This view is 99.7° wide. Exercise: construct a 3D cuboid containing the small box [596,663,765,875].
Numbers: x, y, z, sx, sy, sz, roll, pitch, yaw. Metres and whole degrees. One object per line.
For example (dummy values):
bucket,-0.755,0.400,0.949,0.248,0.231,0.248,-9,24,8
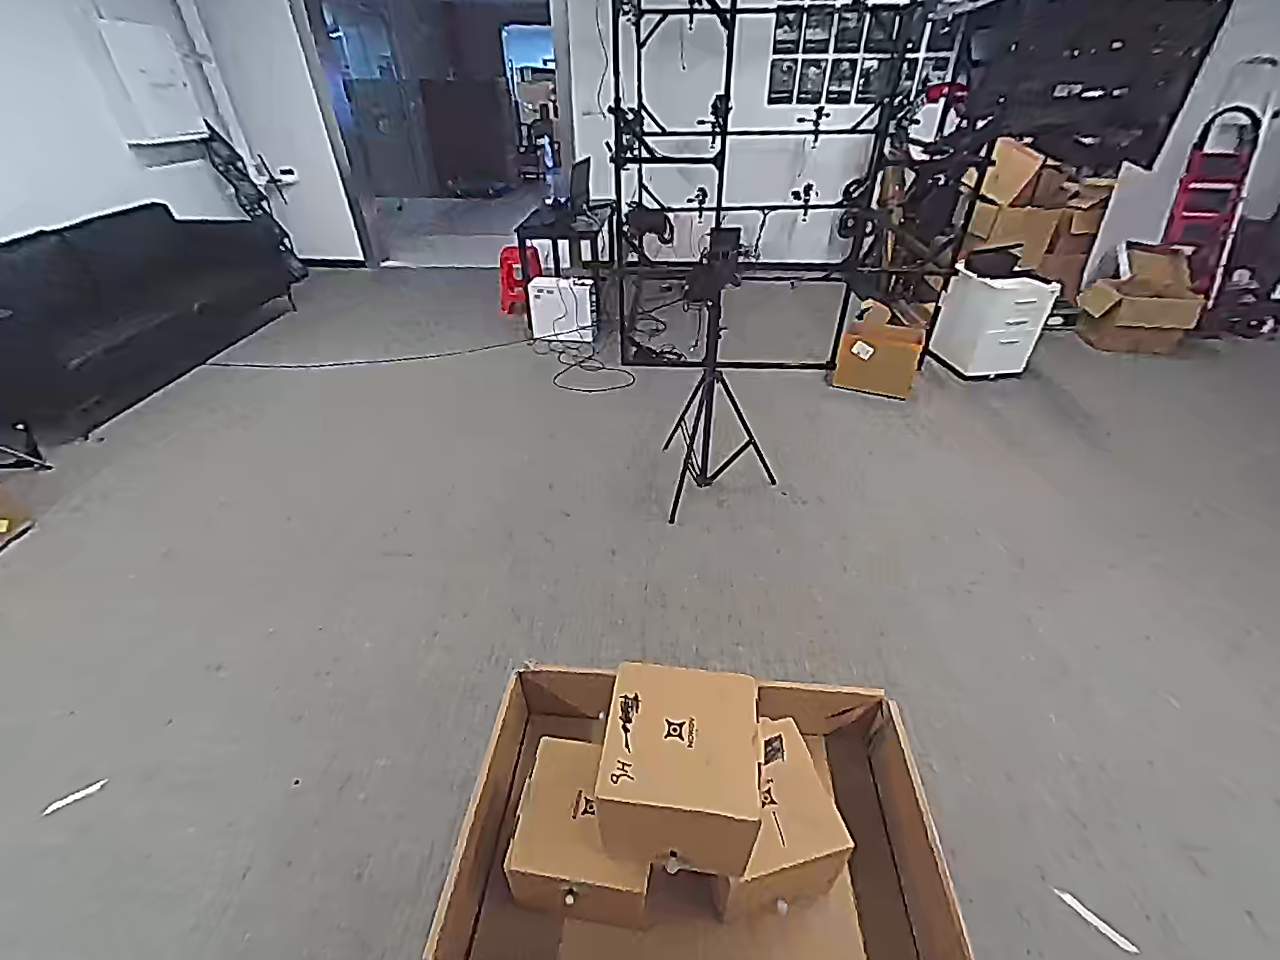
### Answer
small box,0.049,0.354,0.663,0.179,0.176,0.168,5,37,6
